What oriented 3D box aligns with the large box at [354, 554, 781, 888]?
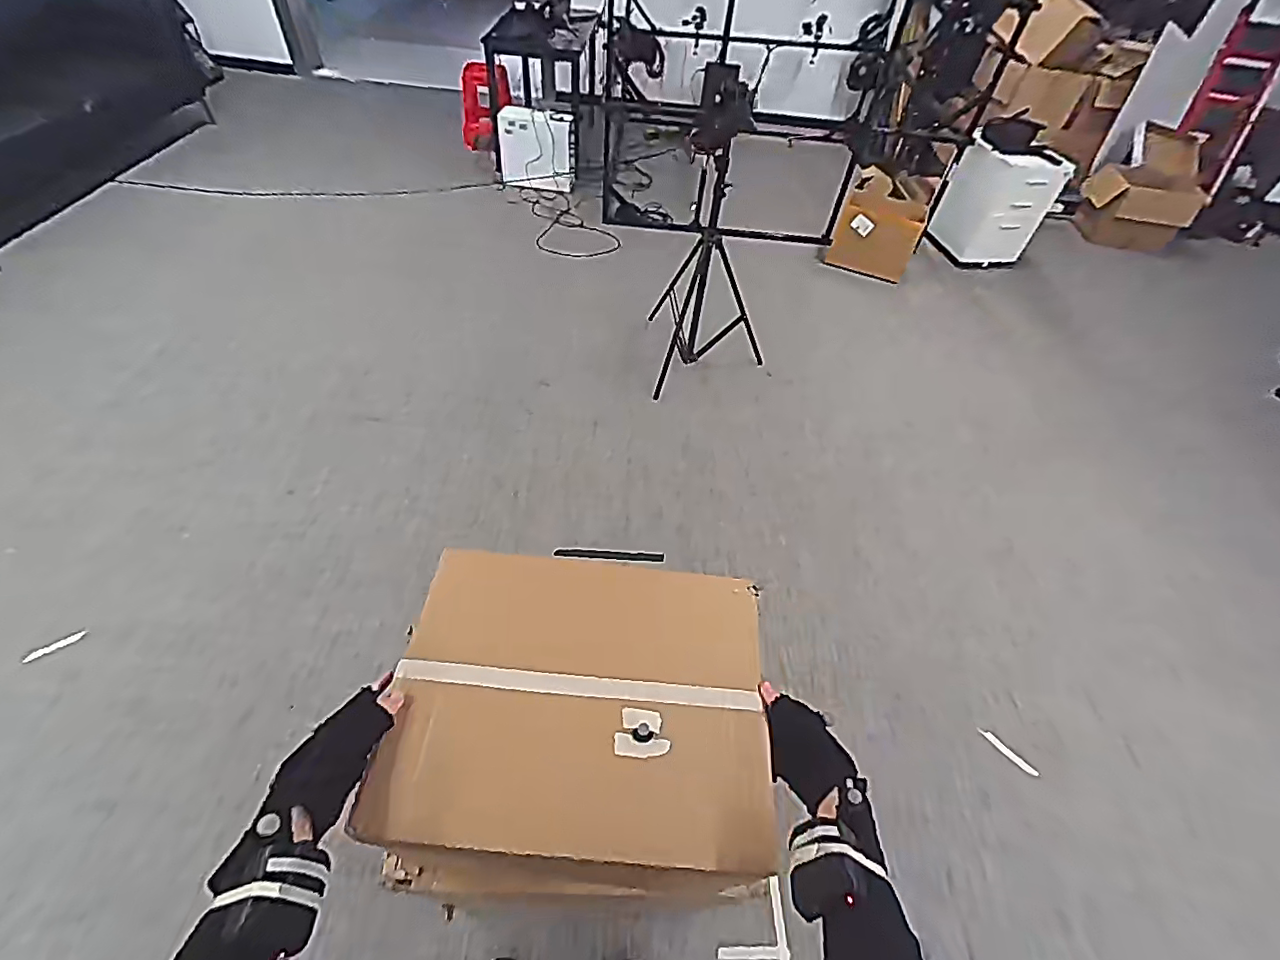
[{"bbox_3d":[-0.073,0.321,0.704,0.408,0.320,0.320,6,51,-2],"label":"large box"}]
